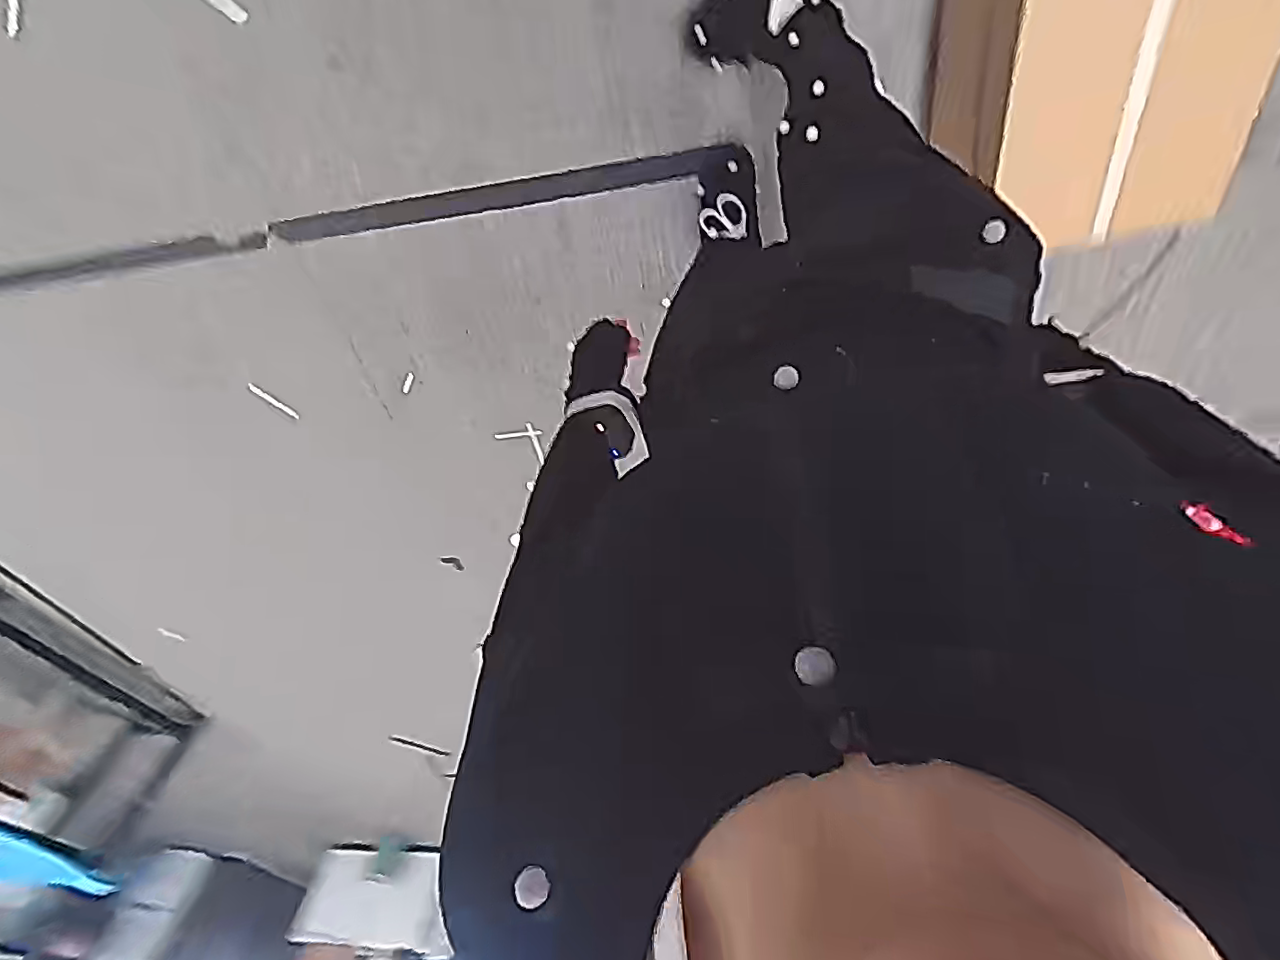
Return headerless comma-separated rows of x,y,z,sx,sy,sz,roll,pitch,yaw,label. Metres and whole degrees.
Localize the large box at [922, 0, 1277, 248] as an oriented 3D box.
0.652,-0.635,0.827,0.320,0.320,0.408,-8,130,12,large box
